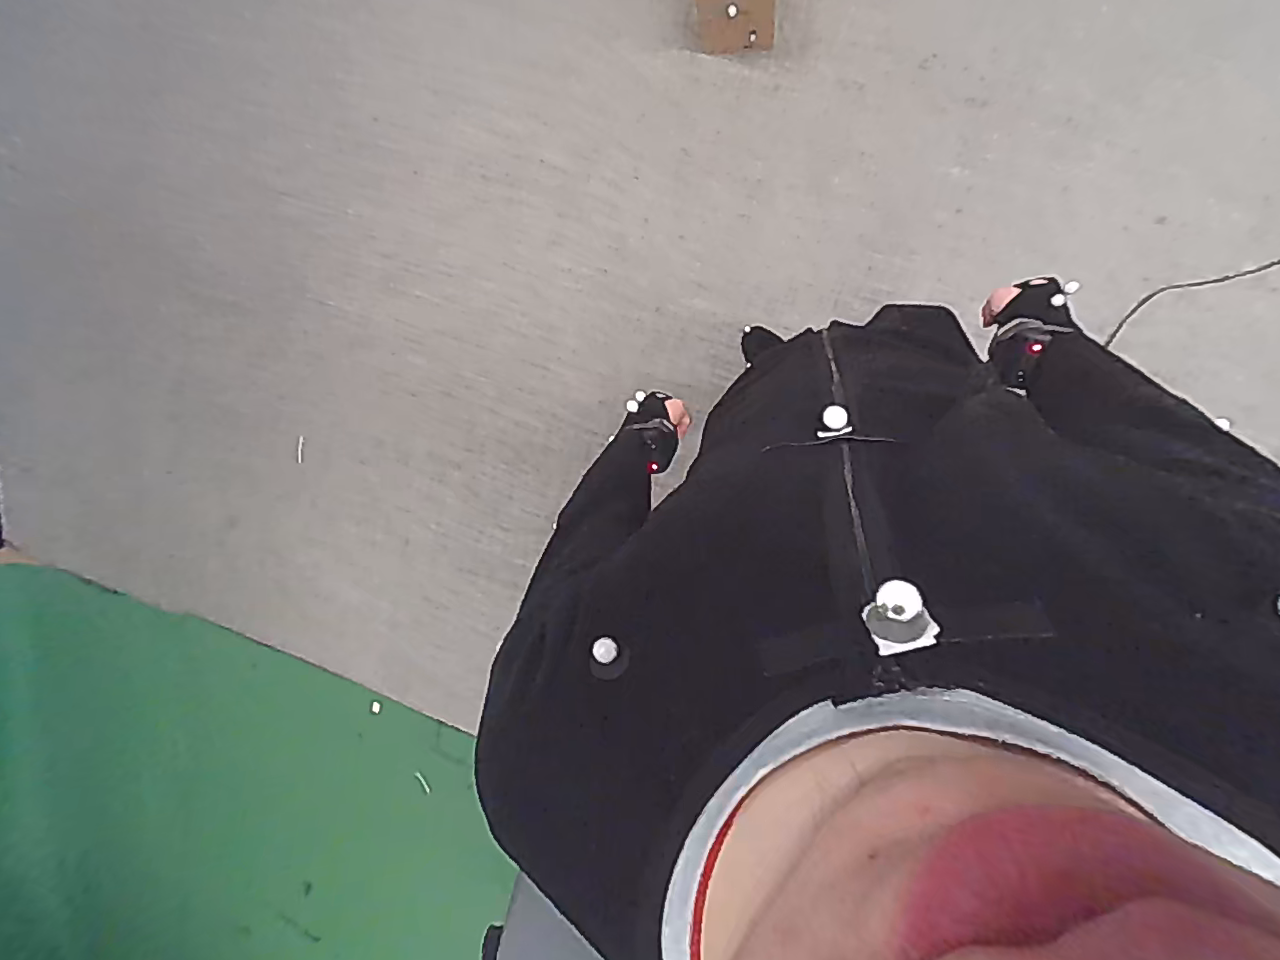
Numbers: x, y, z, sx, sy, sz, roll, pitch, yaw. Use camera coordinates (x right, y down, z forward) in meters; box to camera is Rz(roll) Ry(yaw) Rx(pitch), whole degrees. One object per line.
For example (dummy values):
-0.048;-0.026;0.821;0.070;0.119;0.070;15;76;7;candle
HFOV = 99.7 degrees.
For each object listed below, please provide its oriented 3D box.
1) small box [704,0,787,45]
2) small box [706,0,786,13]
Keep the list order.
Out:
0.236;-1.077;1.169;0.168;0.176;0.179;6;106;11;small box
0.204;-1.027;1.016;0.168;0.176;0.179;7;109;12;small box
